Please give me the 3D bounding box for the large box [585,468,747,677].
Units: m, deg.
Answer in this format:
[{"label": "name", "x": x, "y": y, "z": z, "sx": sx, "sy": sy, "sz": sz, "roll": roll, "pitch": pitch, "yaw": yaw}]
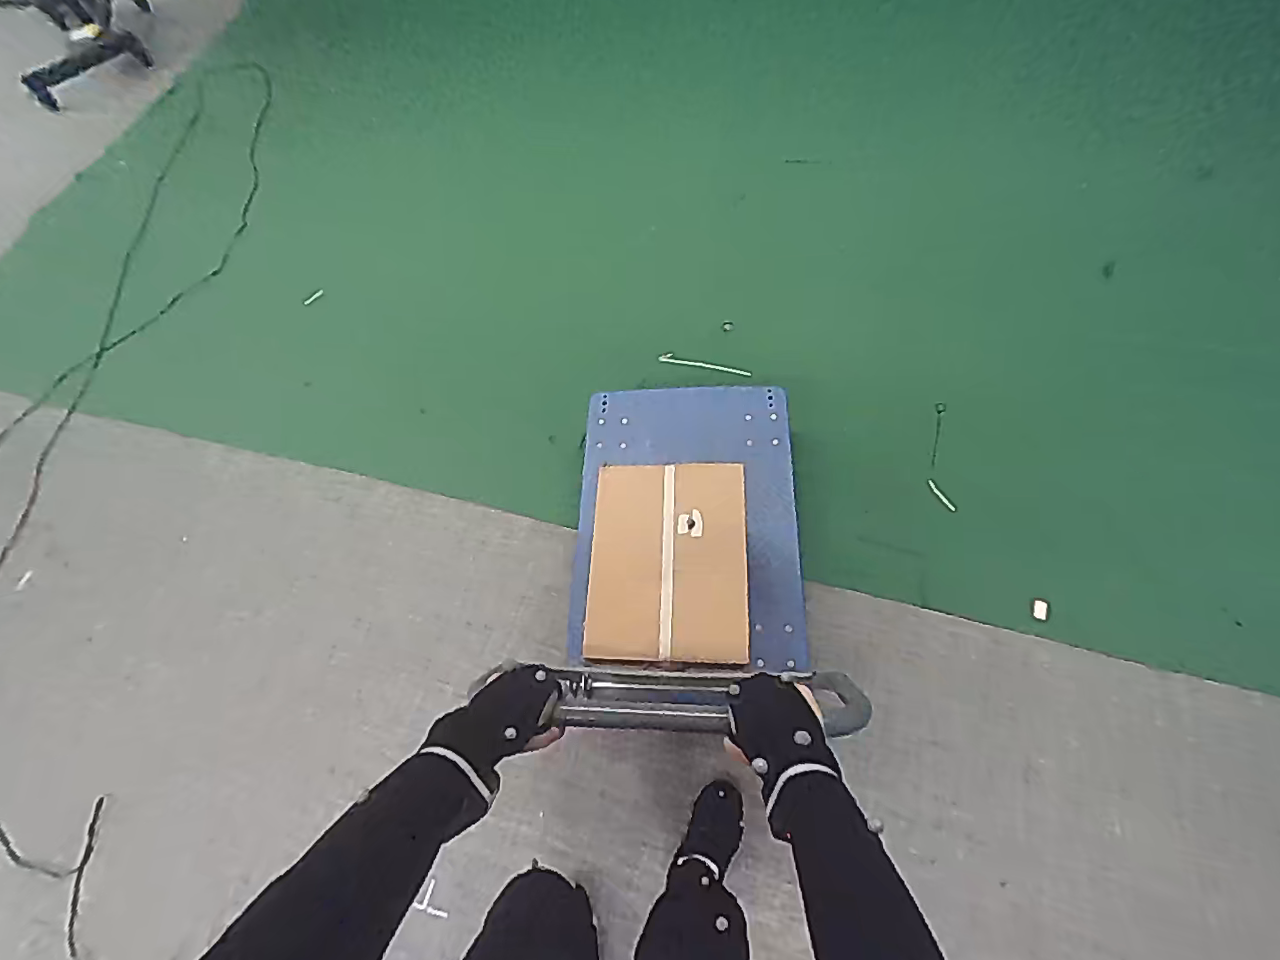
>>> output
[{"label": "large box", "x": 0.073, "y": 0.222, "z": 1.232, "sx": 0.320, "sy": 0.320, "sz": 0.408, "roll": 0, "pitch": 64, "yaw": 8}]
